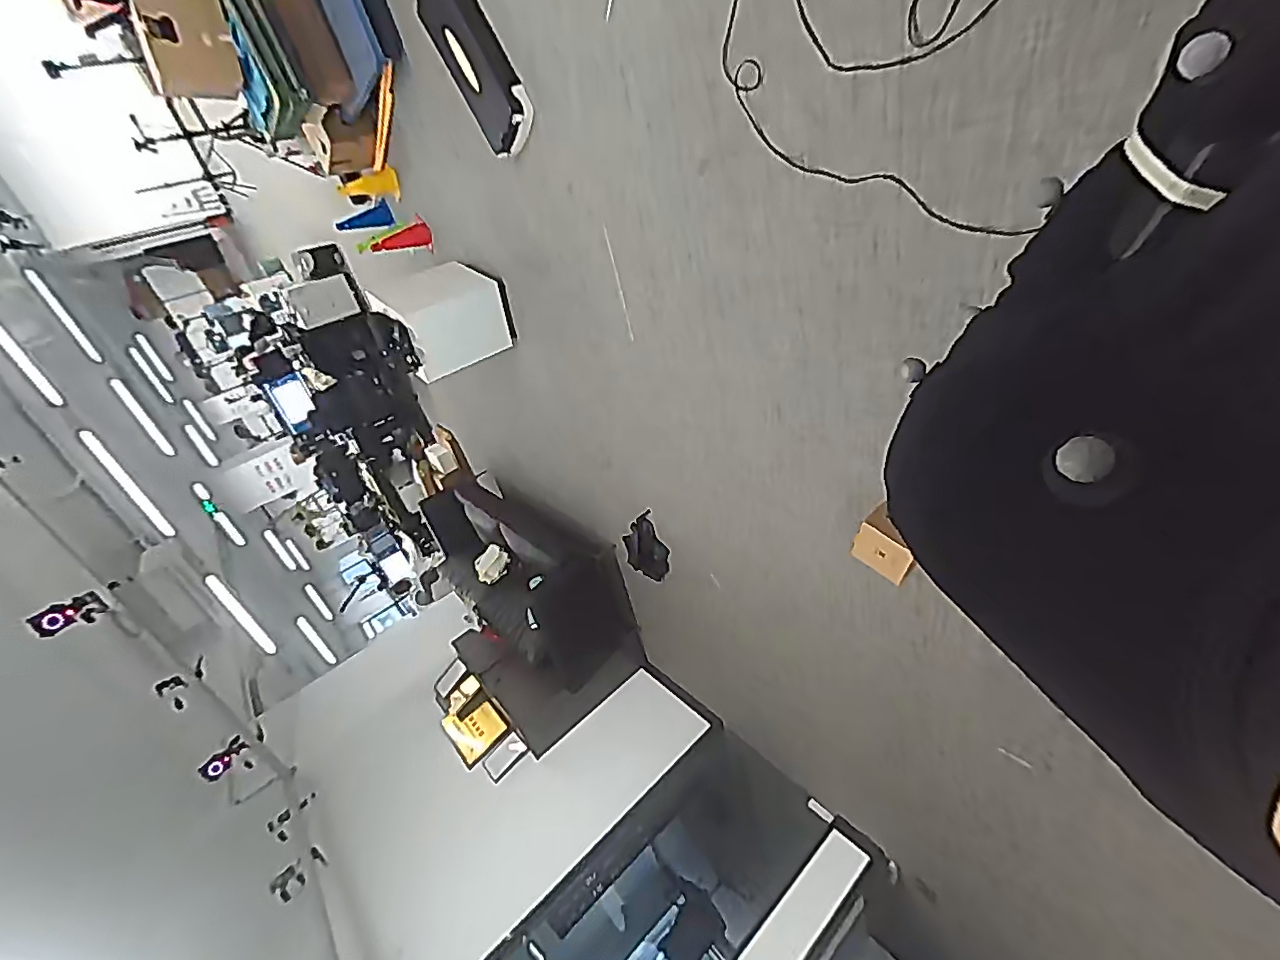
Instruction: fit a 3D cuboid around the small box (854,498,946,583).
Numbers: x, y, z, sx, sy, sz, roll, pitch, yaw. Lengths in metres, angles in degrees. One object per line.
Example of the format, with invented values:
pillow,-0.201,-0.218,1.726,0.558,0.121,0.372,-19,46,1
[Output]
small box,0.813,0.181,1.694,0.179,0.176,0.168,37,147,33
